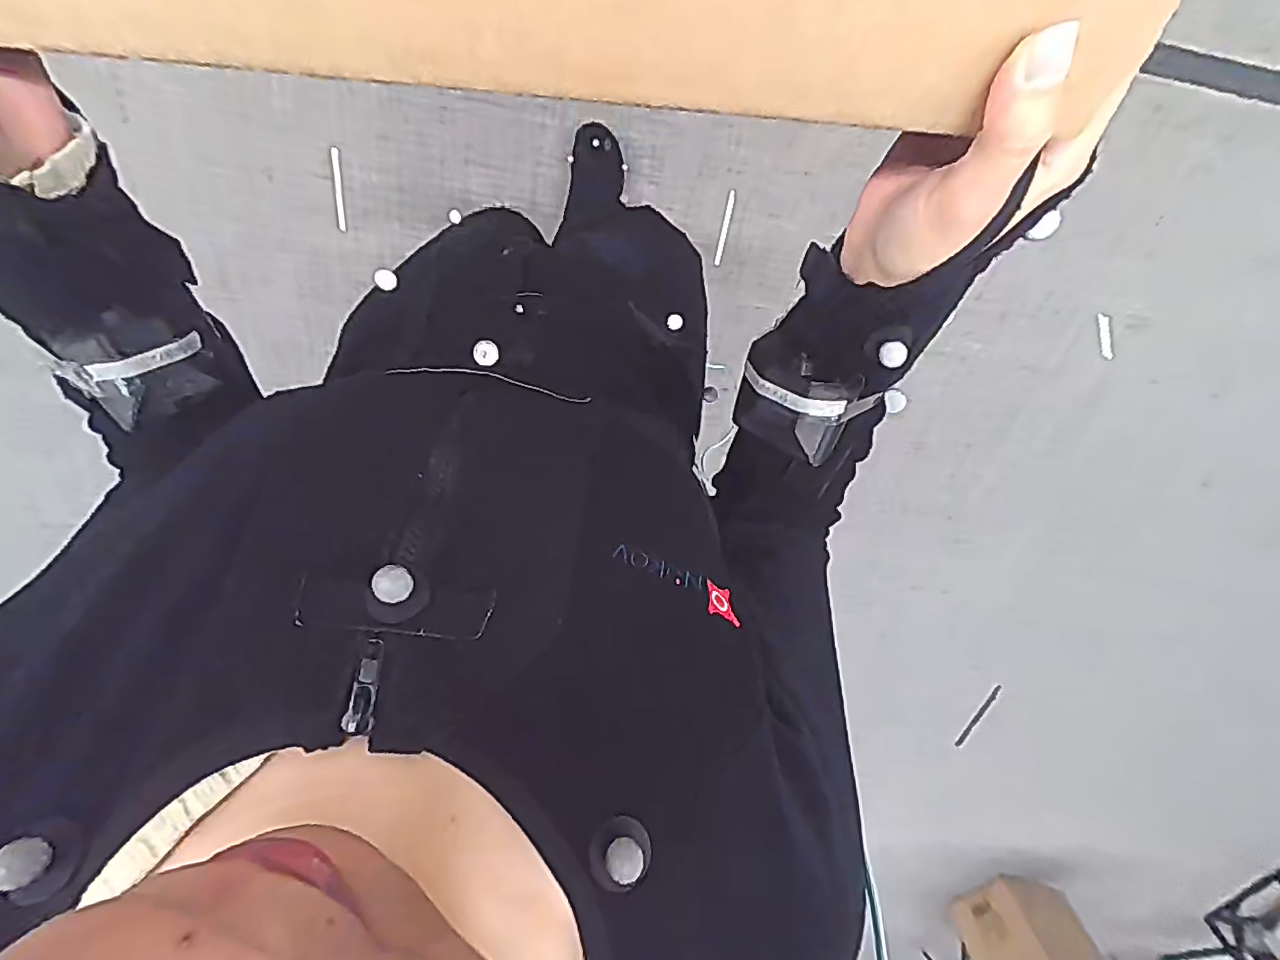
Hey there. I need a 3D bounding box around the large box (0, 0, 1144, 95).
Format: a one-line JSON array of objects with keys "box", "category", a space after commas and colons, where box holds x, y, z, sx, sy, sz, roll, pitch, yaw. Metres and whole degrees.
[{"box": [-0.039, -0.345, 0.129, 0.408, 0.320, 0.320, 3, 149, -3], "category": "large box"}]
